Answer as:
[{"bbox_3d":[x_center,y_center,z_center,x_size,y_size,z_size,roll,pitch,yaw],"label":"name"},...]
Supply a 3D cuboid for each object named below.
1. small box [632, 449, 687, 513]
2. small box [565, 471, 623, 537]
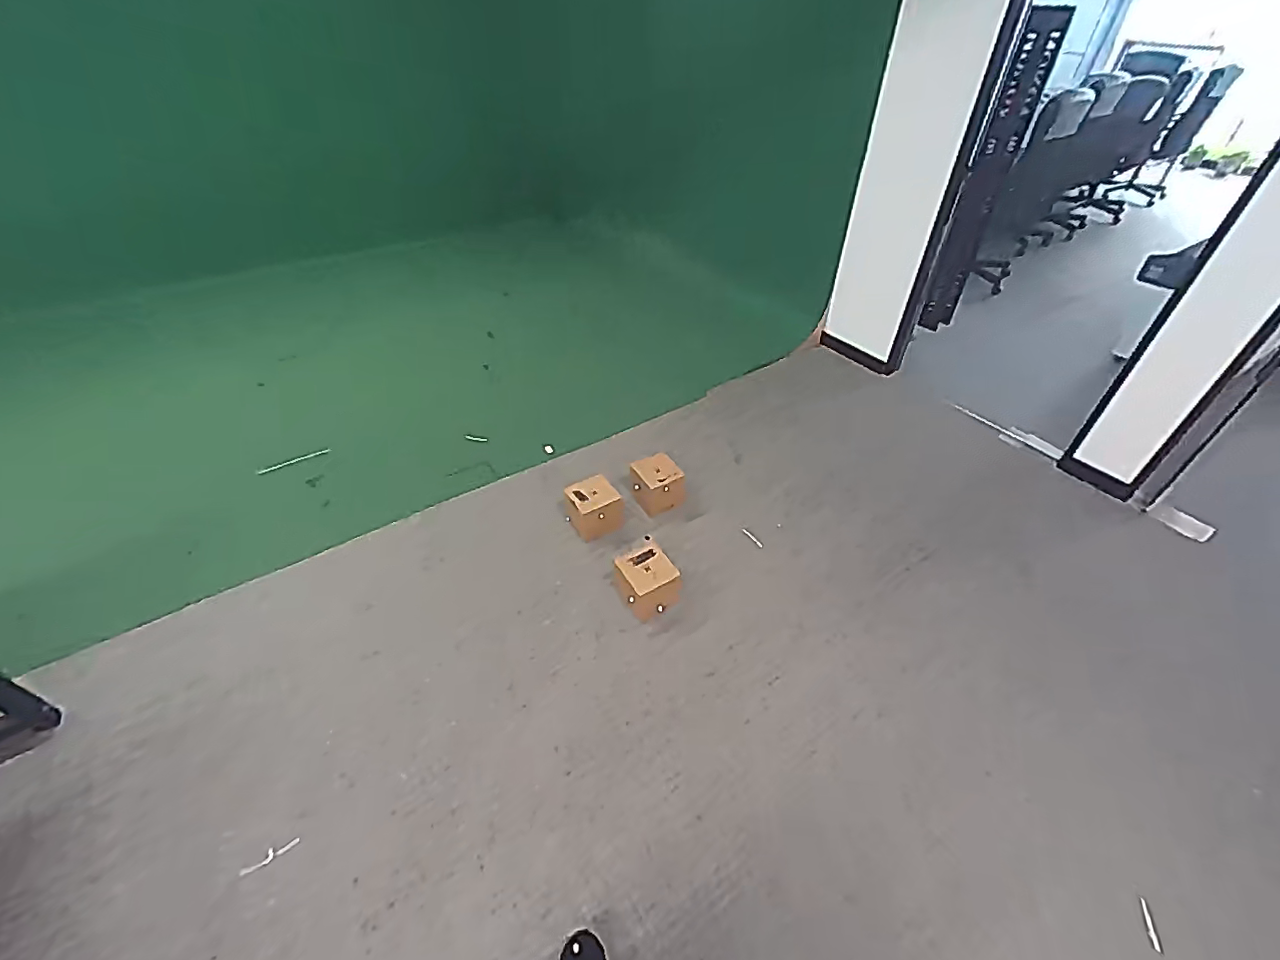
[{"bbox_3d":[0.077,0.004,2.242,0.168,0.176,0.179,-22,46,-22],"label":"small box"},{"bbox_3d":[-0.178,0.098,2.142,0.179,0.176,0.168,-24,48,-23],"label":"small box"}]
